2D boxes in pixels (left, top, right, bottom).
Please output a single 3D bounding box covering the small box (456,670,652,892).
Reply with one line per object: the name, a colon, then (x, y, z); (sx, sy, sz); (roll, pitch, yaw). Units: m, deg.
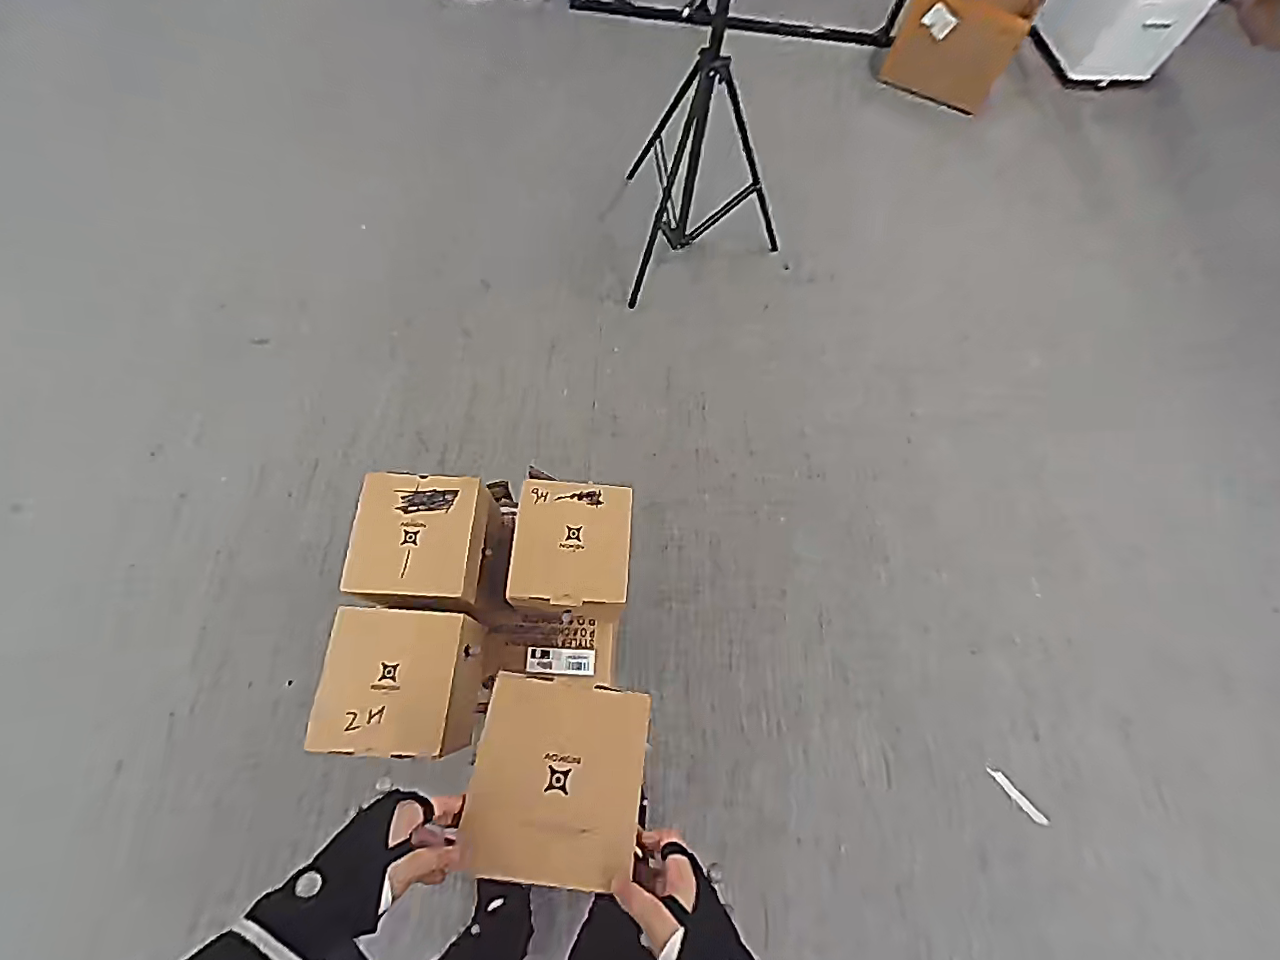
small box: (-0.088, 0.328, 0.597); (0.168, 0.176, 0.179); (9, 59, -3)
